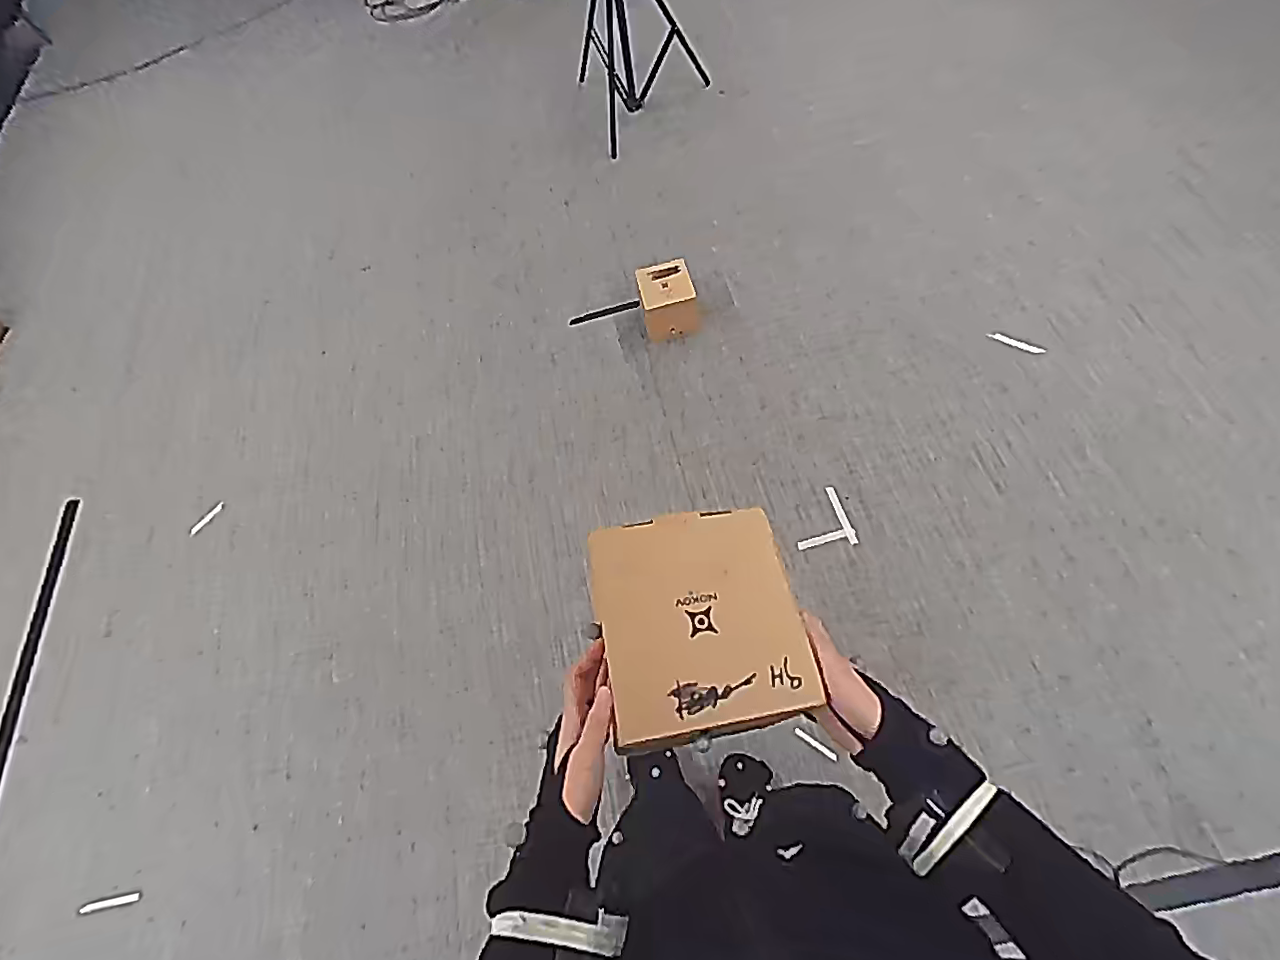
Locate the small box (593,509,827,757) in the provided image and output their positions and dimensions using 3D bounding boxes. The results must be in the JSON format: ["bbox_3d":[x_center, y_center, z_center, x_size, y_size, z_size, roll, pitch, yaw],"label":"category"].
[{"bbox_3d":[0.046,0.149,0.514,0.168,0.176,0.179,-7,61,-8],"label":"small box"}]
